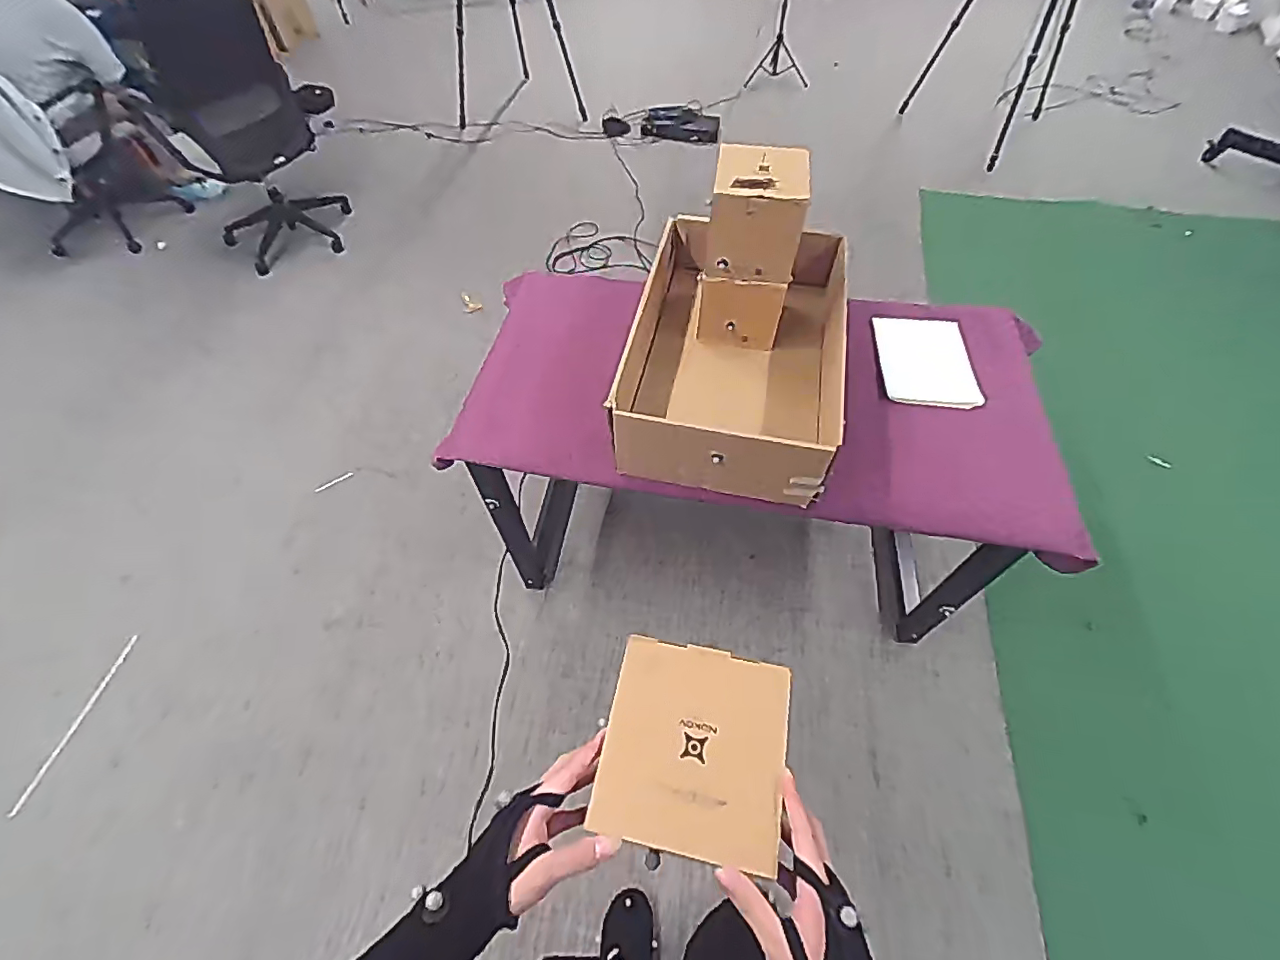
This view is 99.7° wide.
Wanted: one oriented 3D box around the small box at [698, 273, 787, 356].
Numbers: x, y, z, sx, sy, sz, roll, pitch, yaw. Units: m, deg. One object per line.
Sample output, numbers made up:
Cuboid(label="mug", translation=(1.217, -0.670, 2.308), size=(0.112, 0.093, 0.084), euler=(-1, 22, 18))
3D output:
Cuboid(label="small box", translation=(0.220, -0.397, 1.172), size=(0.168, 0.176, 0.179), euler=(8, 58, 6))

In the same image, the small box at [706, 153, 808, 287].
Cuboid(label="small box", translation=(0.220, -0.495, 1.039), size=(0.168, 0.176, 0.179), euler=(8, 56, 5))

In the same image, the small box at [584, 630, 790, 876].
Cuboid(label="small box", translation=(0.050, 0.283, 0.562), size=(0.168, 0.176, 0.179), euler=(10, 56, 9))
